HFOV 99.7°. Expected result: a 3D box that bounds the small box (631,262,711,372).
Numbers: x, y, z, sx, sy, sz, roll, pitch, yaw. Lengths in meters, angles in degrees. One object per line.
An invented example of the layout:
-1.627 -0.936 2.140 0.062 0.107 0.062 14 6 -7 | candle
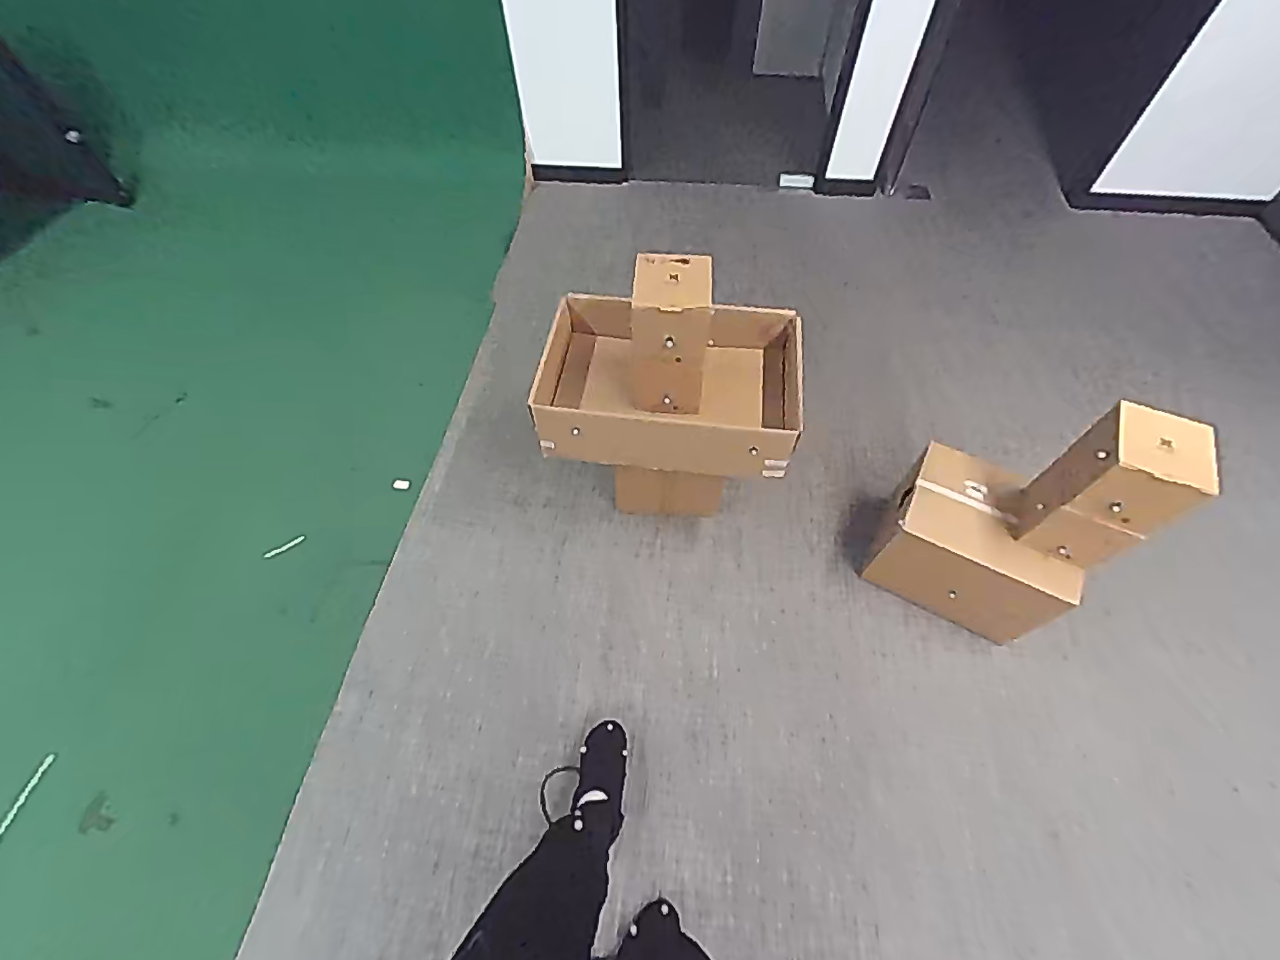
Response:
0.071 -0.361 1.214 0.168 0.176 0.179 3 58 3 | small box

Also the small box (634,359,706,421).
0.077 -0.272 1.352 0.168 0.176 0.179 5 57 5 | small box

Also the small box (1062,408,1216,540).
1.003 -0.009 1.102 0.168 0.176 0.179 22 59 15 | small box
